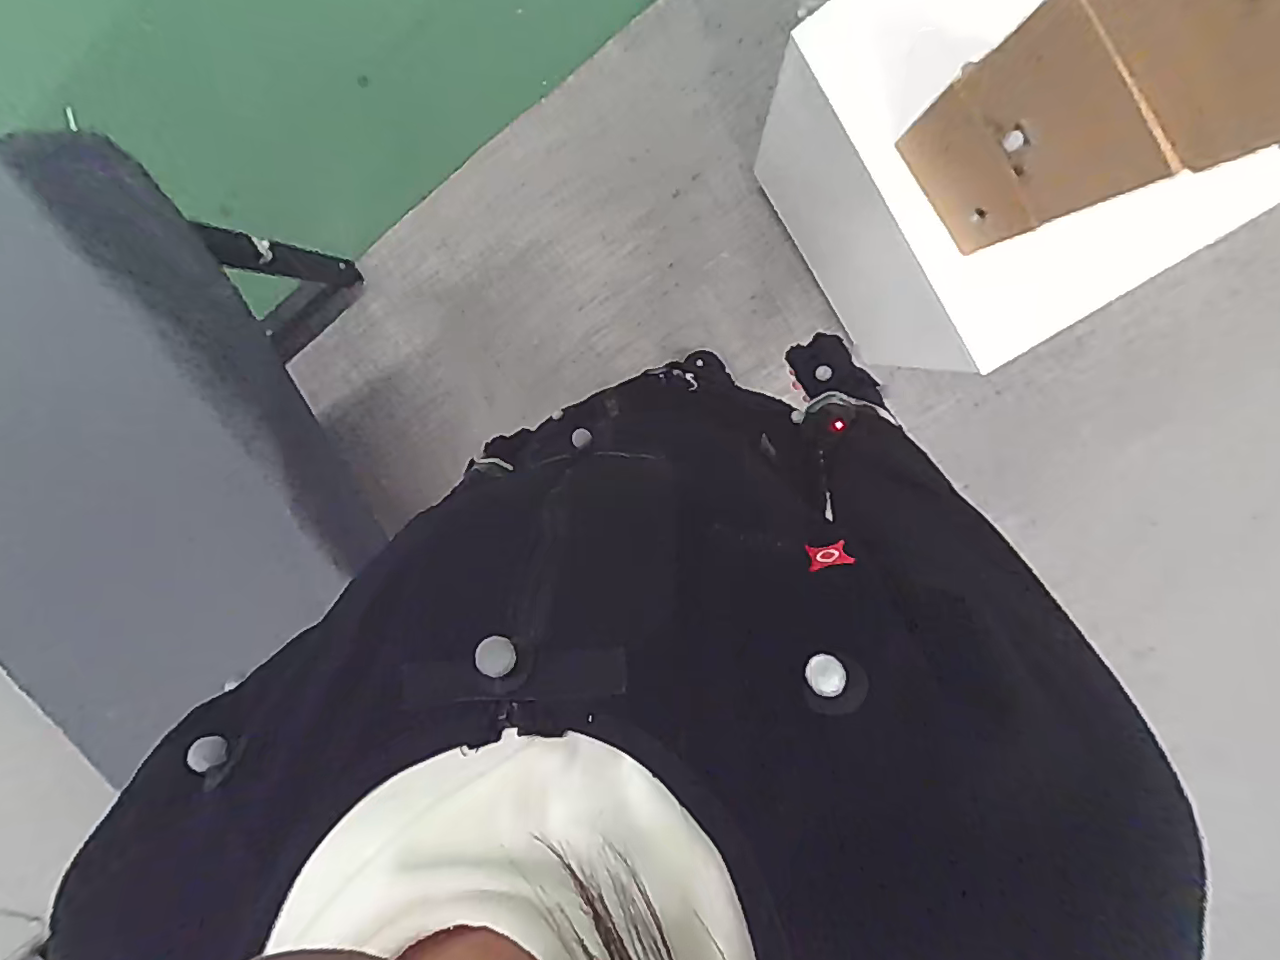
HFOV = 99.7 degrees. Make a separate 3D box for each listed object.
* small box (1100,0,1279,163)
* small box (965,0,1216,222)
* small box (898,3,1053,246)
[{"bbox_3d":[0.393,-0.310,0.276,0.168,0.176,0.179,-37,96,13],"label":"small box"},{"bbox_3d":[0.414,-0.347,0.434,0.179,0.176,0.168,-38,97,11],"label":"small box"},{"bbox_3d":[0.424,-0.383,0.594,0.168,0.176,0.179,-36,95,13],"label":"small box"}]
